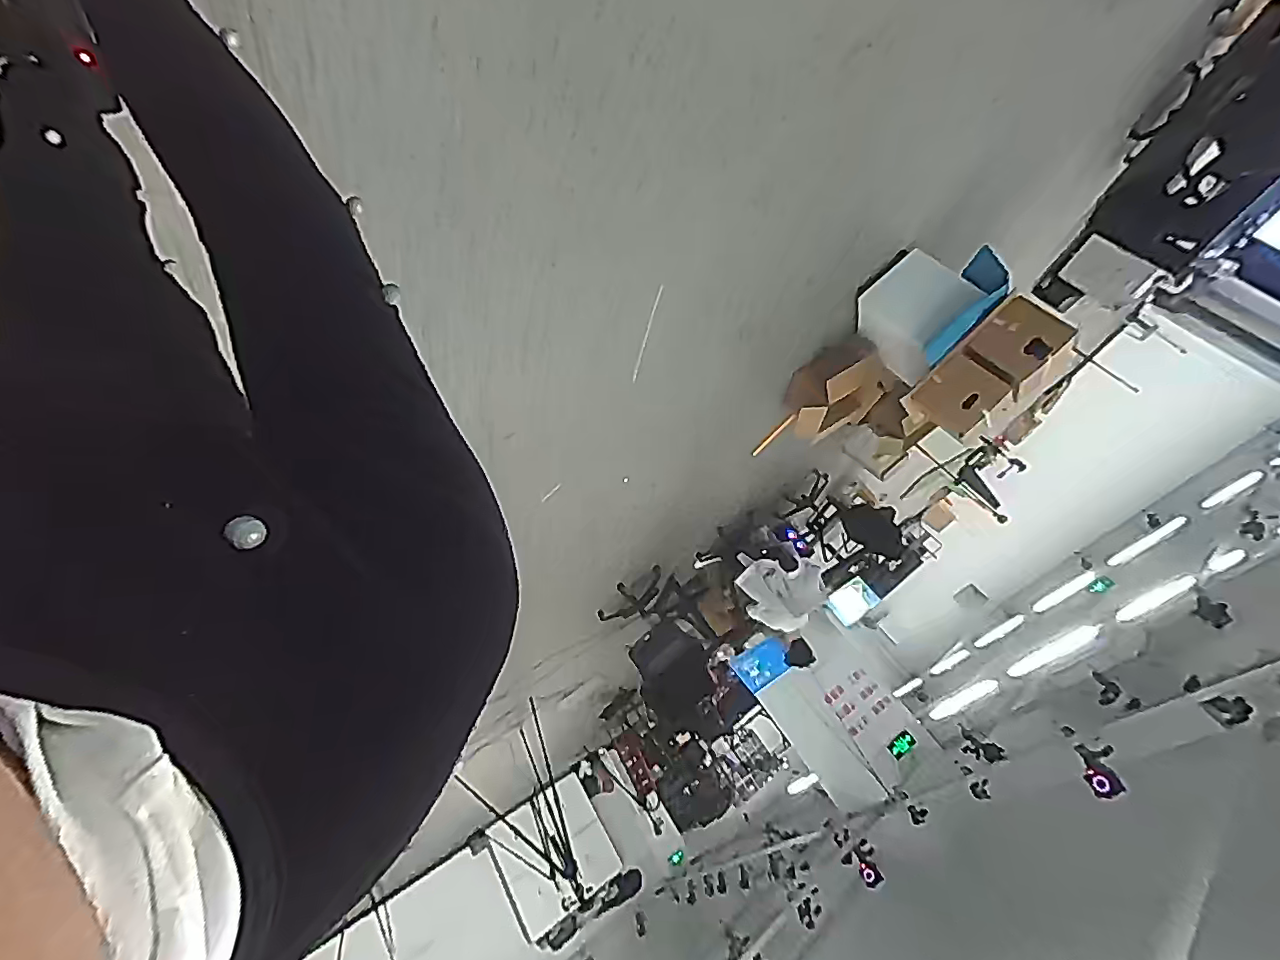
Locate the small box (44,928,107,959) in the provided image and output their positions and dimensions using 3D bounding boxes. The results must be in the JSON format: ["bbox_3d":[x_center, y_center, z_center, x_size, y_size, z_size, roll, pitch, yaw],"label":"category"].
[{"bbox_3d":[-1.737,1.485,1.614,0.168,0.176,0.179,-23,150,-32],"label":"small box"}]

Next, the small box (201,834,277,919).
[{"bbox_3d":[-1.370,1.353,1.852,0.168,0.176,0.179,-17,146,-33],"label":"small box"}]
